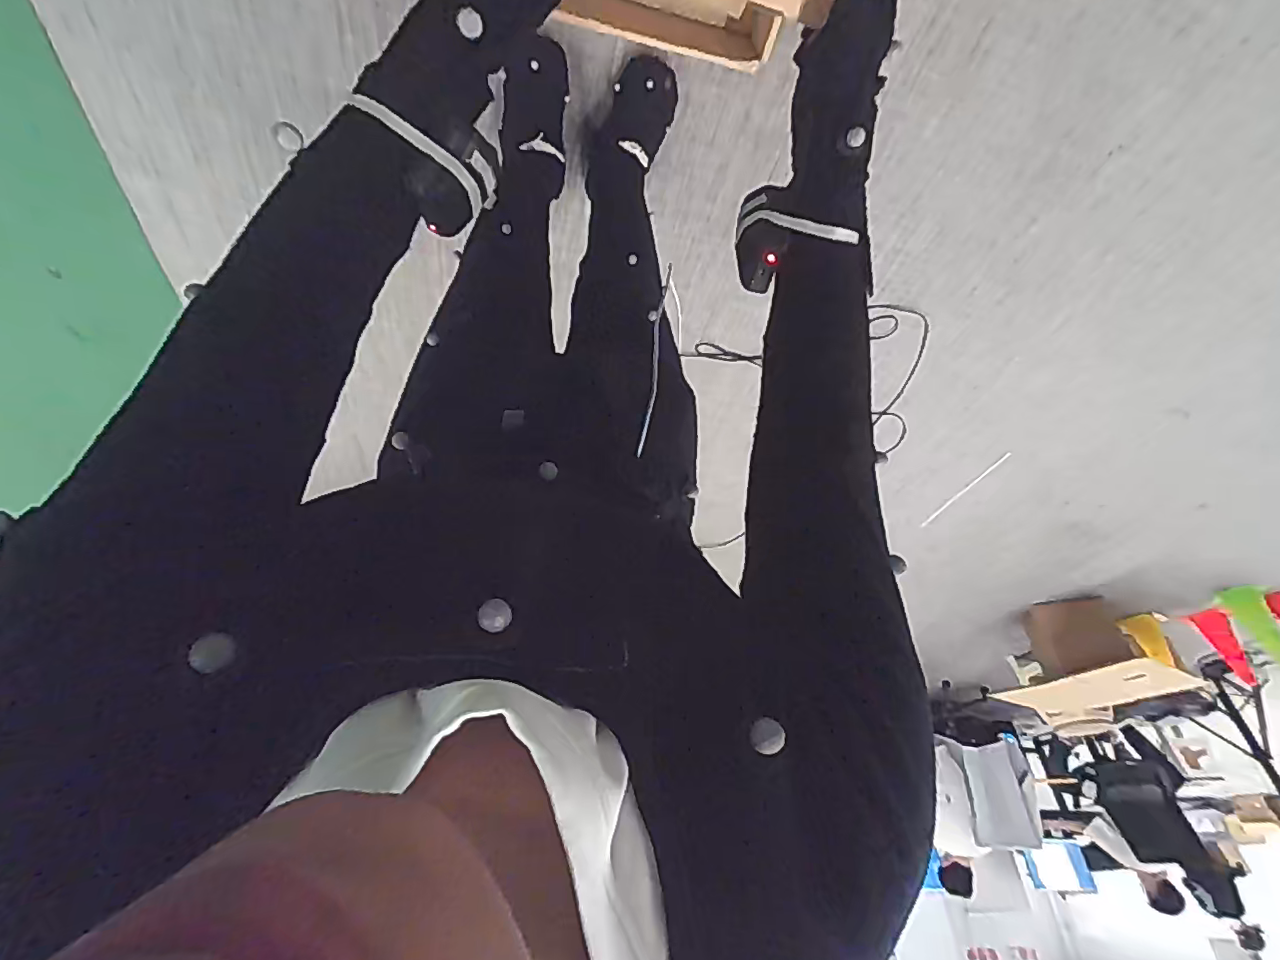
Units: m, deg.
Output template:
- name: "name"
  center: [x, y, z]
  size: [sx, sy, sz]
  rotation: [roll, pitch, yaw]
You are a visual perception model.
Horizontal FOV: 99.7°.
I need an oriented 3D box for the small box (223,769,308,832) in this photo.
- name: "small box"
  center: [-1.258, 1.086, 1.832]
  size: [0.168, 0.176, 0.179]
  rotation: [8, 142, -11]
